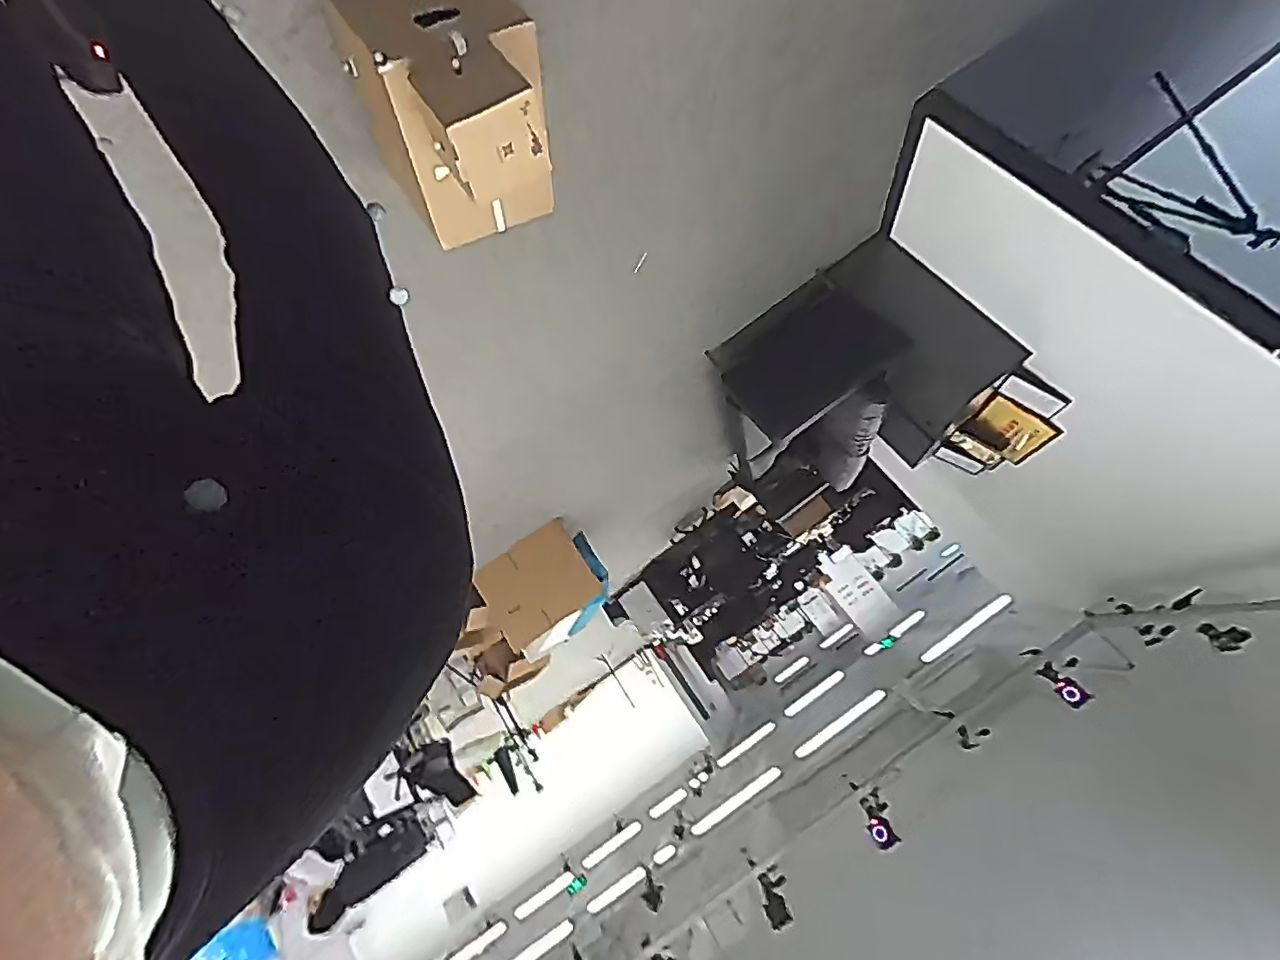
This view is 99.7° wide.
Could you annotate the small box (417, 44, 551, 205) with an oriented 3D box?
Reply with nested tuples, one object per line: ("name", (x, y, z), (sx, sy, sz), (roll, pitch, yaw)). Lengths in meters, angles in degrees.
("small box", (-0.299, -0.676, 1.031), (0.179, 0.176, 0.168), (-32, 160, -9))
